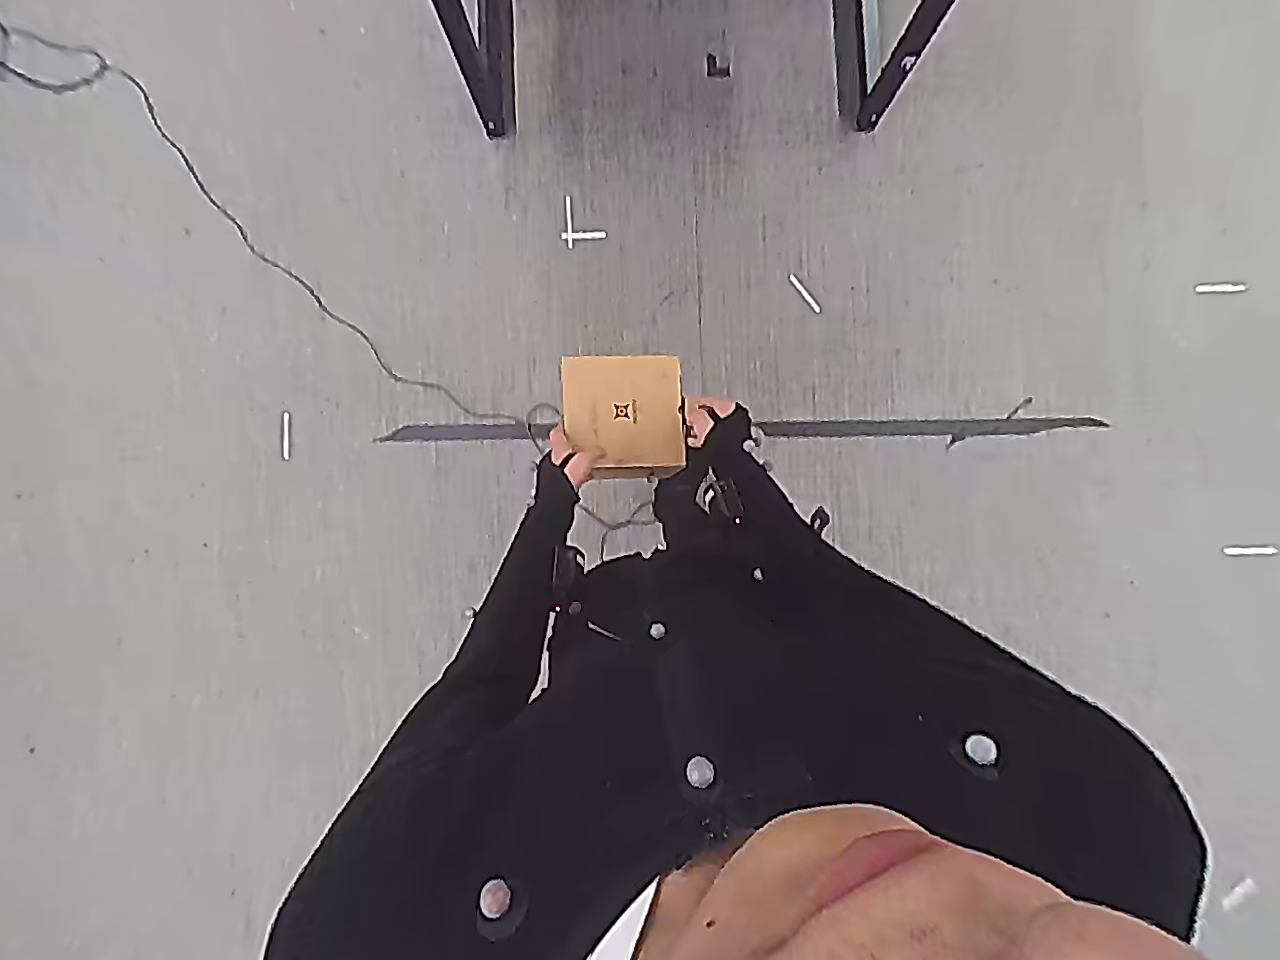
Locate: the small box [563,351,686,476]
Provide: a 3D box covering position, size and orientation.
[{"bbox_3d":[-0.031,-0.097,0.854,0.179,0.176,0.168,-1,84,-7],"label":"small box"}]
